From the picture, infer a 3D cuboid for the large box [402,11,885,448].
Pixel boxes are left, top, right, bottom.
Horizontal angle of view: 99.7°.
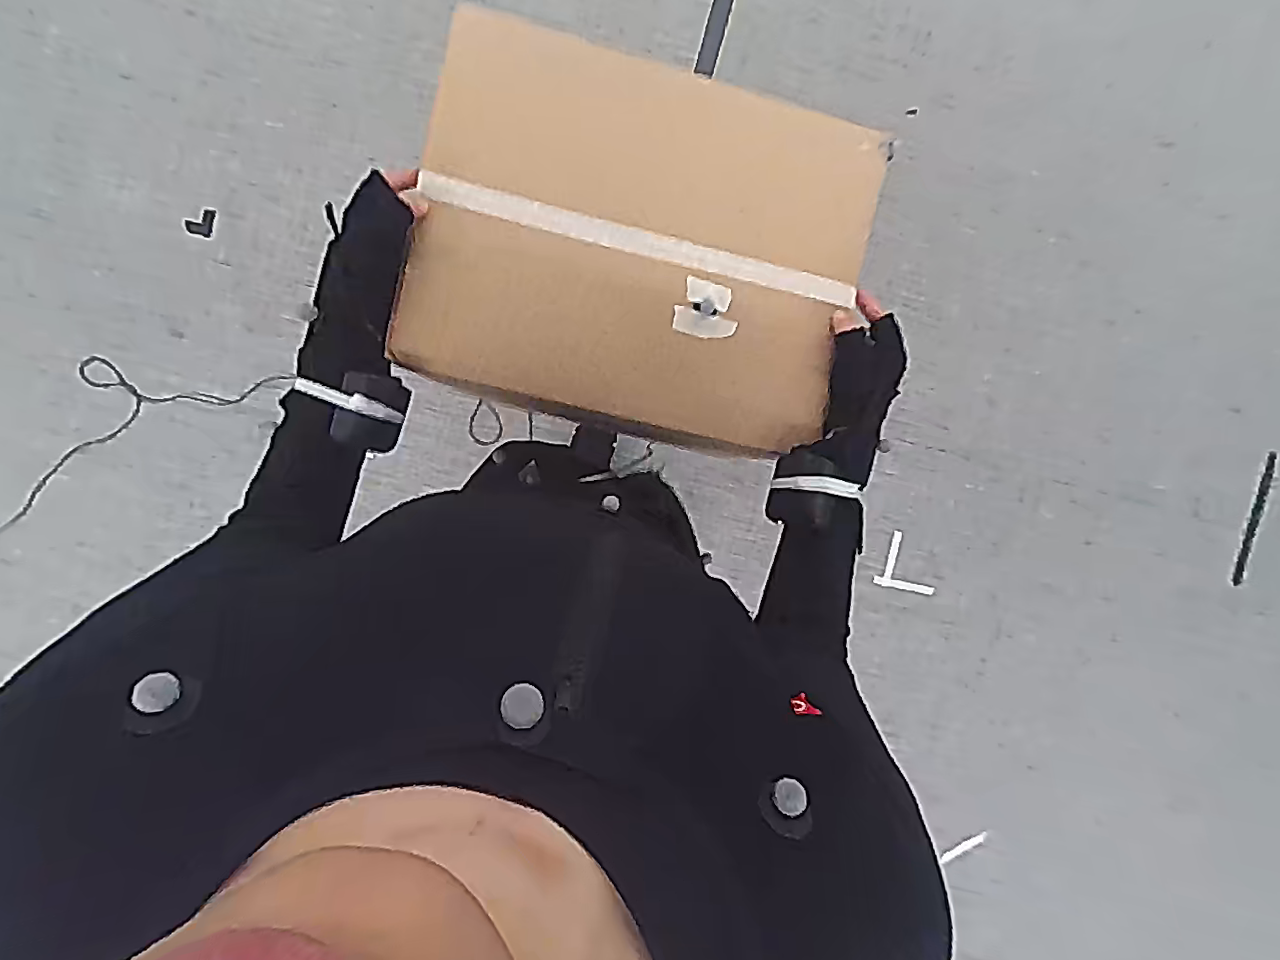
[{"bbox_3d":[-0.007,-0.230,0.644,0.408,0.320,0.320,13,94,-7],"label":"large box"}]
